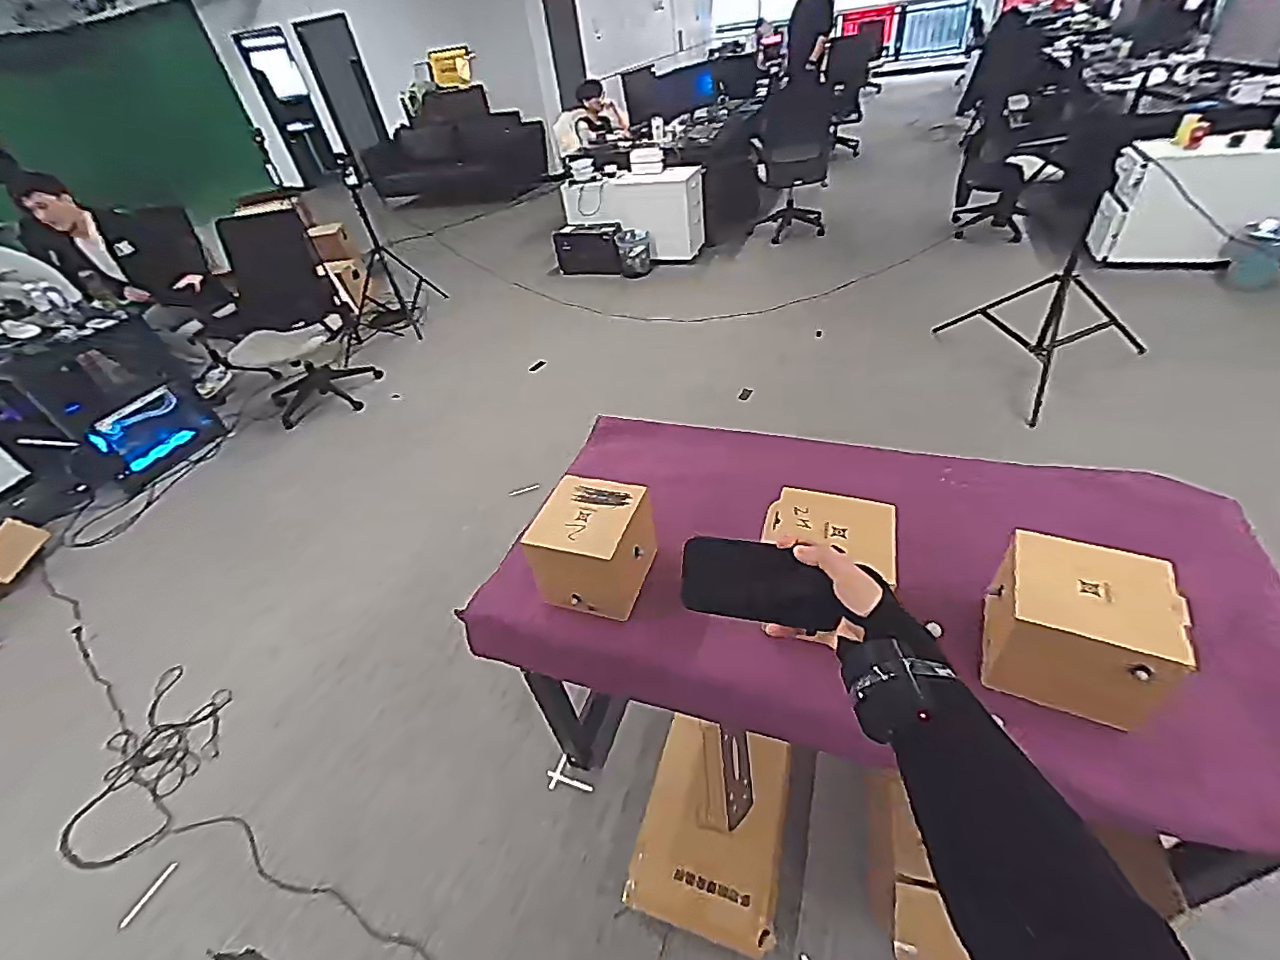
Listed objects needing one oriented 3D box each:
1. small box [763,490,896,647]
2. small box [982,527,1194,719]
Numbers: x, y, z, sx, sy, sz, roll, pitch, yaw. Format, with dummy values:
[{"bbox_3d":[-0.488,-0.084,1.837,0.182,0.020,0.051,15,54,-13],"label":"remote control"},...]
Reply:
[{"bbox_3d":[0.297,0.141,0.859,0.179,0.176,0.168,7,41,19],"label":"small box"},{"bbox_3d":[0.587,0.195,0.739,0.179,0.176,0.168,13,45,24],"label":"small box"}]
